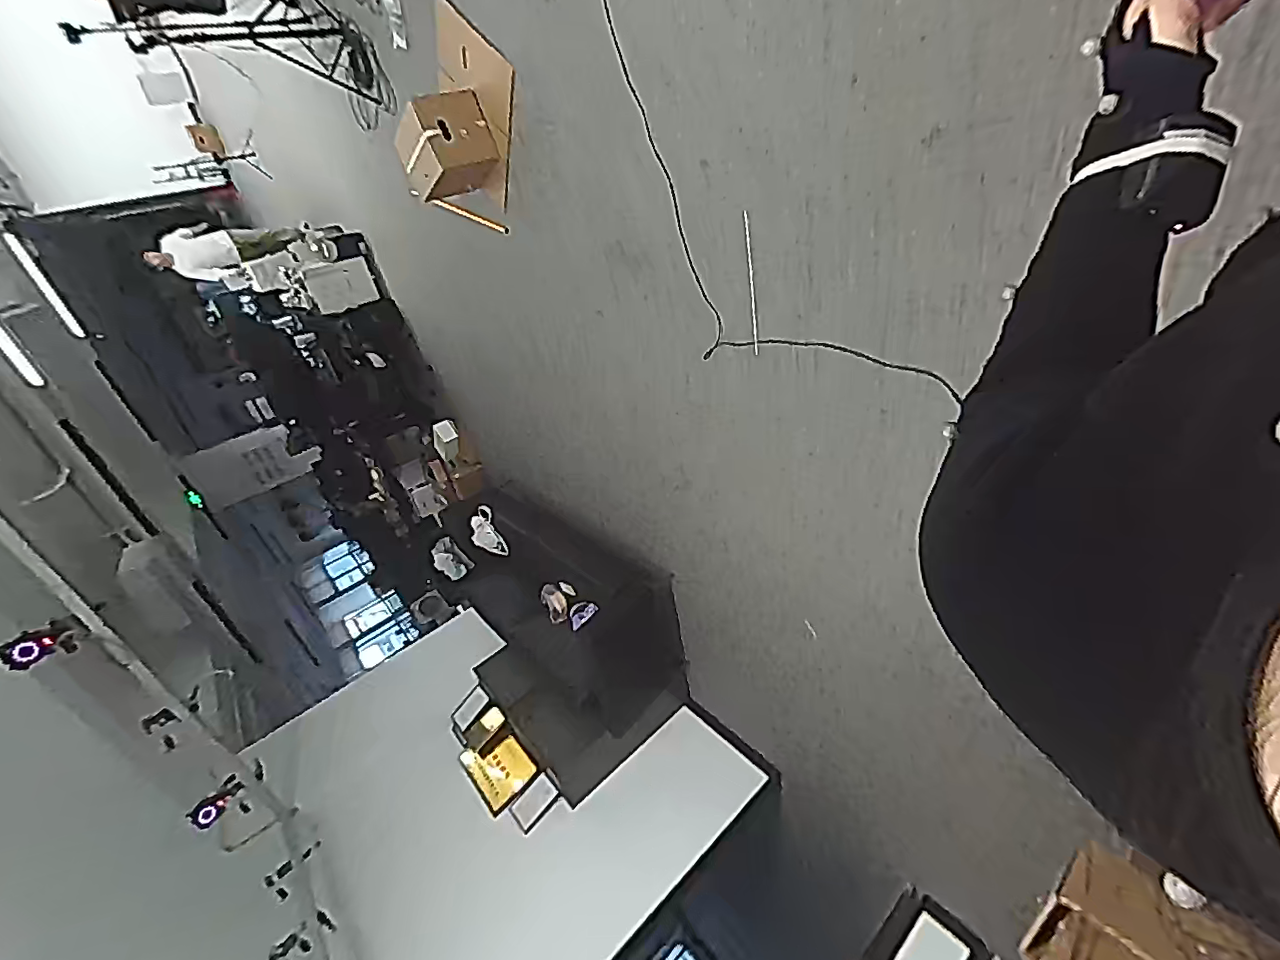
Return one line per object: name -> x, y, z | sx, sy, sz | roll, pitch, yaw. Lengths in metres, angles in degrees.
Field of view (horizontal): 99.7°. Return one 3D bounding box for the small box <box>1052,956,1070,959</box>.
small box -> 0.962, 1.214, 1.196 | 0.168, 0.176, 0.179 | 34, 143, 41
